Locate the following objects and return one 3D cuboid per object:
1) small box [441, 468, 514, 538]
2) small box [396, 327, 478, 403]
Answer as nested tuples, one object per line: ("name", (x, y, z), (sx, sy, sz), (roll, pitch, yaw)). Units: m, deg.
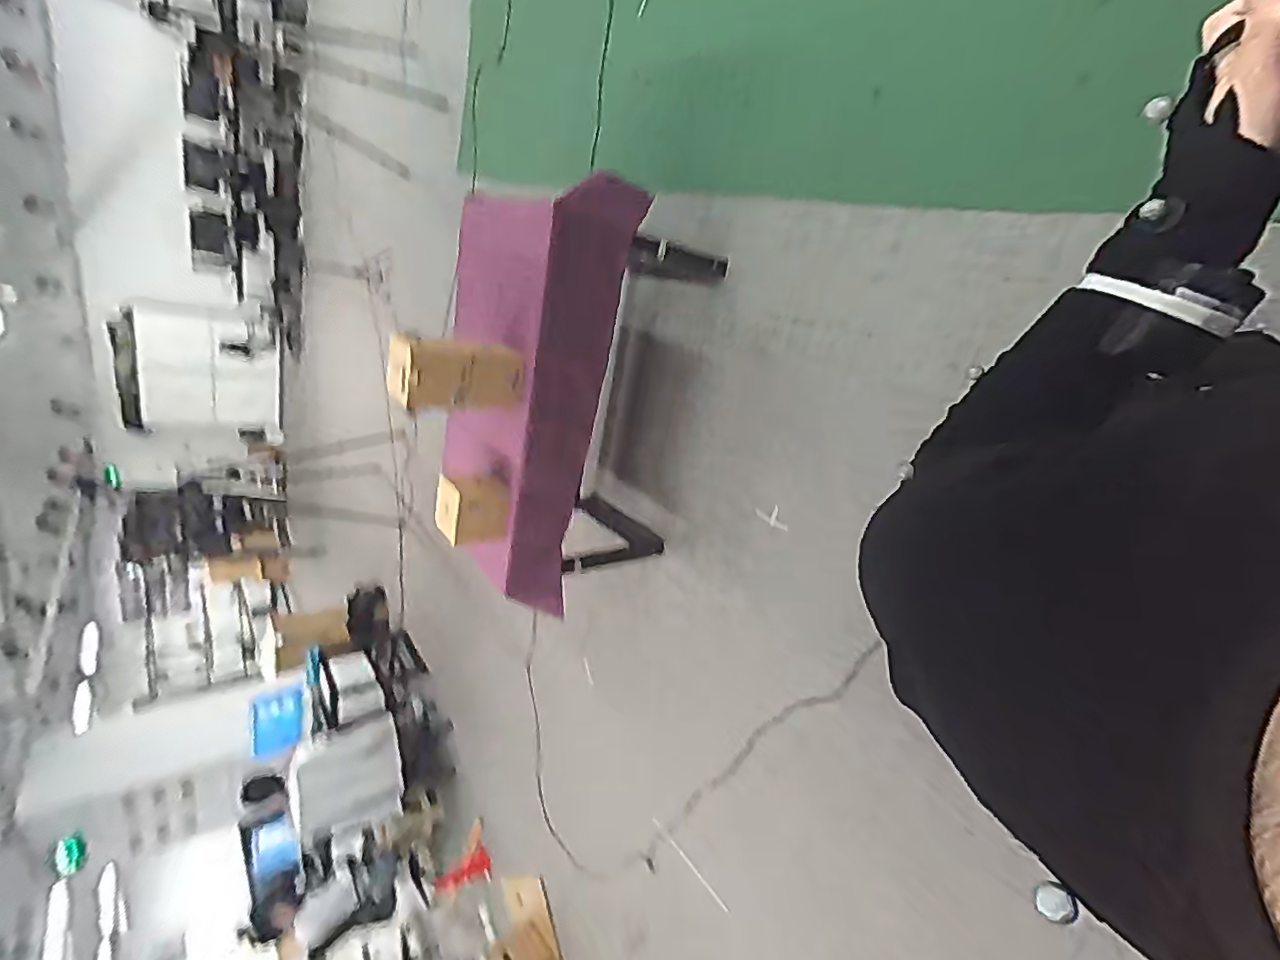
("small box", (-0.525, 0.068, 1.753), (0.168, 0.176, 0.179), (33, 117, 44))
("small box", (-0.574, -0.324, 1.527), (0.179, 0.176, 0.168), (37, 120, 43))
